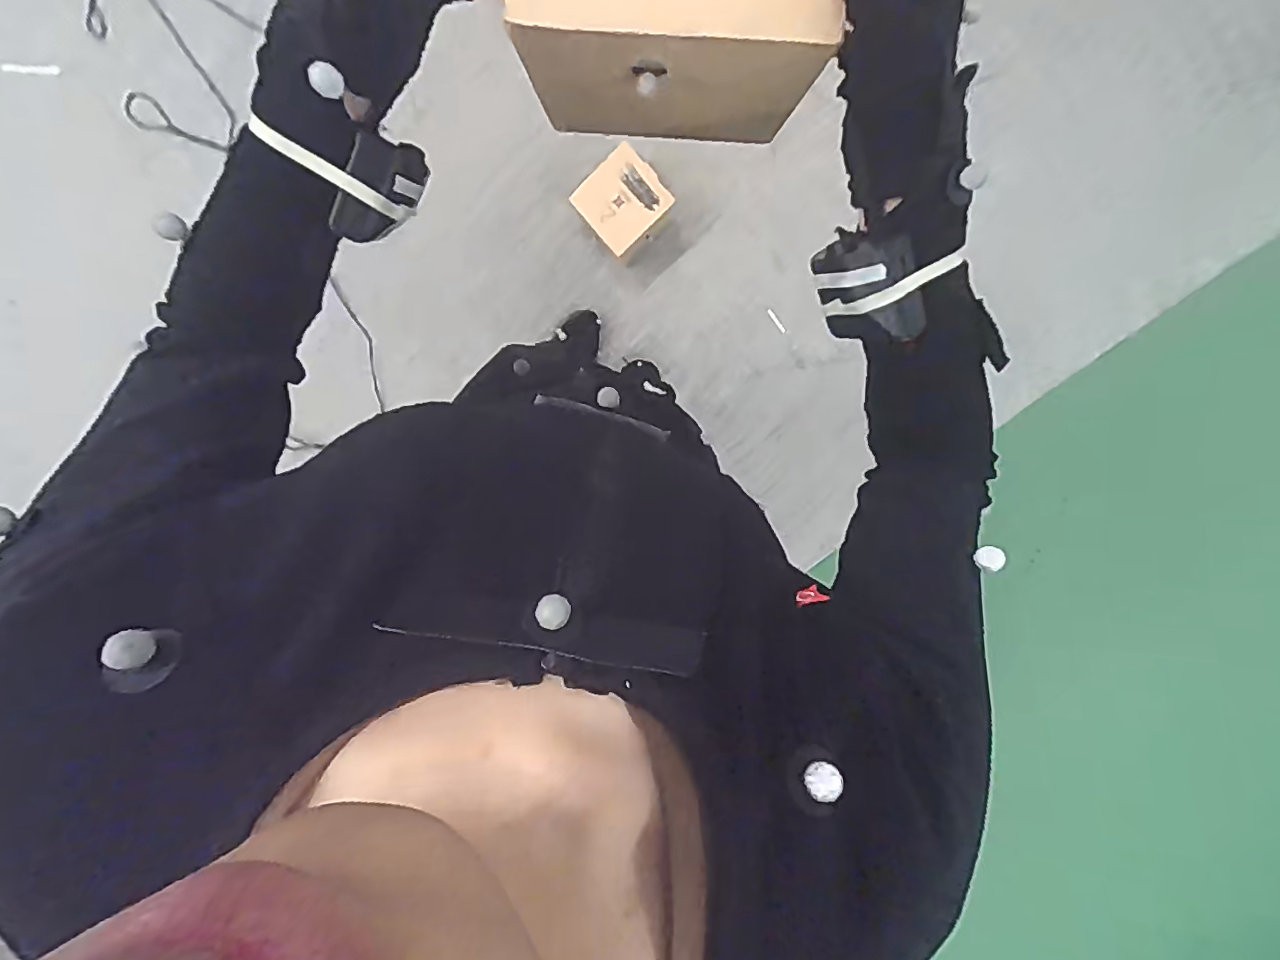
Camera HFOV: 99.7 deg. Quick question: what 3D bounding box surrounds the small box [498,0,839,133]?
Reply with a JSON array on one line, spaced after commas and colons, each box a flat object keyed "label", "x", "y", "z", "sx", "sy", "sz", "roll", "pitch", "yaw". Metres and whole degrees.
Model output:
[{"label": "small box", "x": 0.019, "y": -0.333, "z": 0.331, "sx": 0.179, "sy": 0.176, "sz": 0.168, "roll": 2, "pitch": 107, "yaw": -1}]
